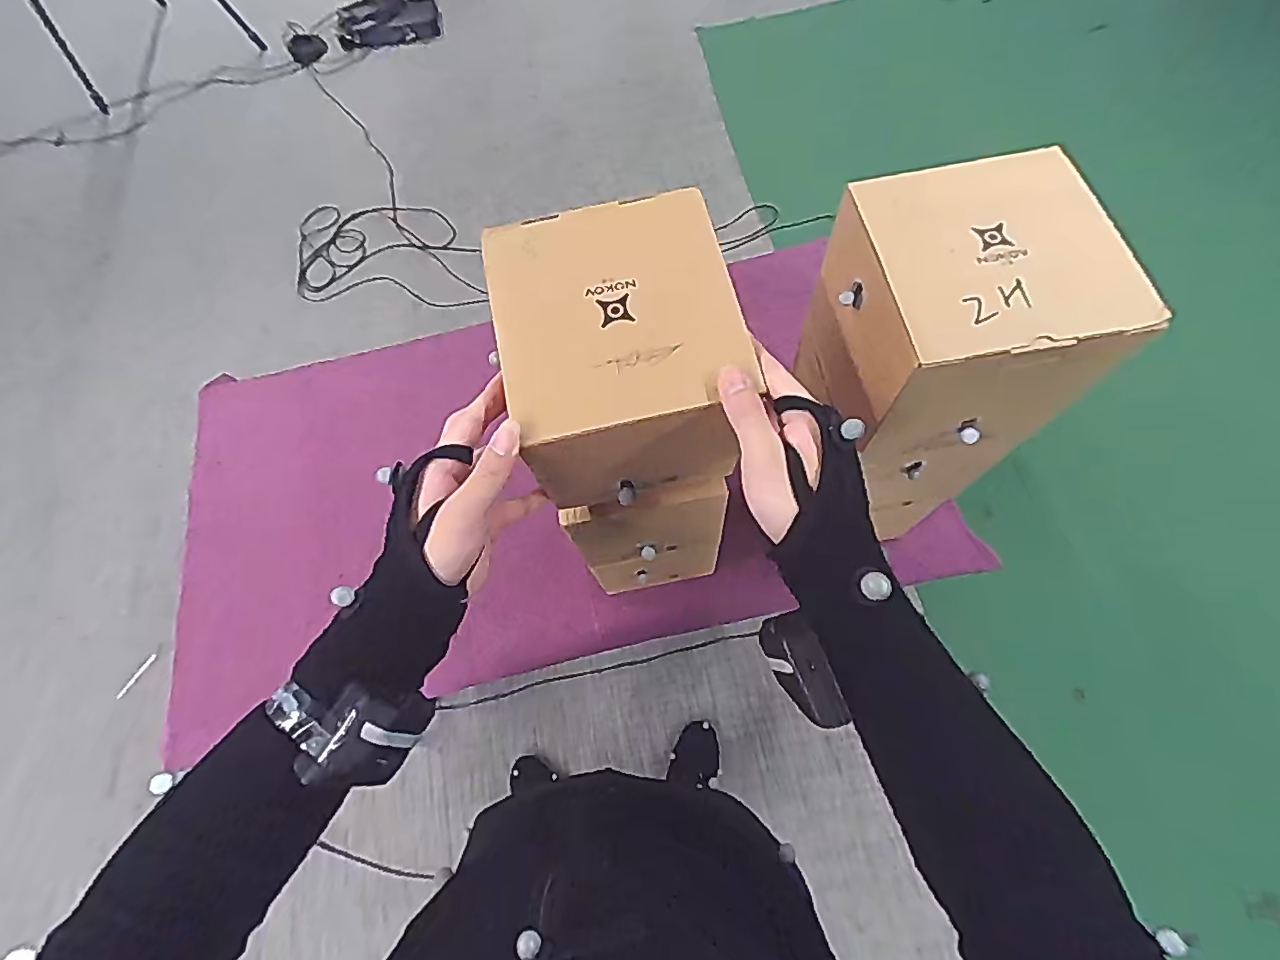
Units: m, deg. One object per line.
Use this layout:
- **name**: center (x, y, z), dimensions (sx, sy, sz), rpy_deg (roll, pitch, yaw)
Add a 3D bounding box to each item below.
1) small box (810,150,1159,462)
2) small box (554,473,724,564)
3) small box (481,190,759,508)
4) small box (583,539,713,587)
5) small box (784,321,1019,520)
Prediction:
- **small box**: center (0.257, -0.136, 0.462), dimensions (0.168, 0.176, 0.179), rpy_deg (-9, 68, 2)
- **small box**: center (-0.006, -0.019, 0.620), dimensions (0.168, 0.176, 0.179), rpy_deg (-11, 67, 1)
- **small box**: center (-0.018, -0.093, 0.443), dimensions (0.168, 0.176, 0.179), rpy_deg (-12, 73, -2)
- **small box**: center (0.007, 0.047, 0.770), dimensions (0.168, 0.176, 0.179), rpy_deg (-11, 66, 1)
- **small box**: center (0.271, -0.071, 0.614), dimensions (0.168, 0.176, 0.179), rpy_deg (-9, 66, 2)
